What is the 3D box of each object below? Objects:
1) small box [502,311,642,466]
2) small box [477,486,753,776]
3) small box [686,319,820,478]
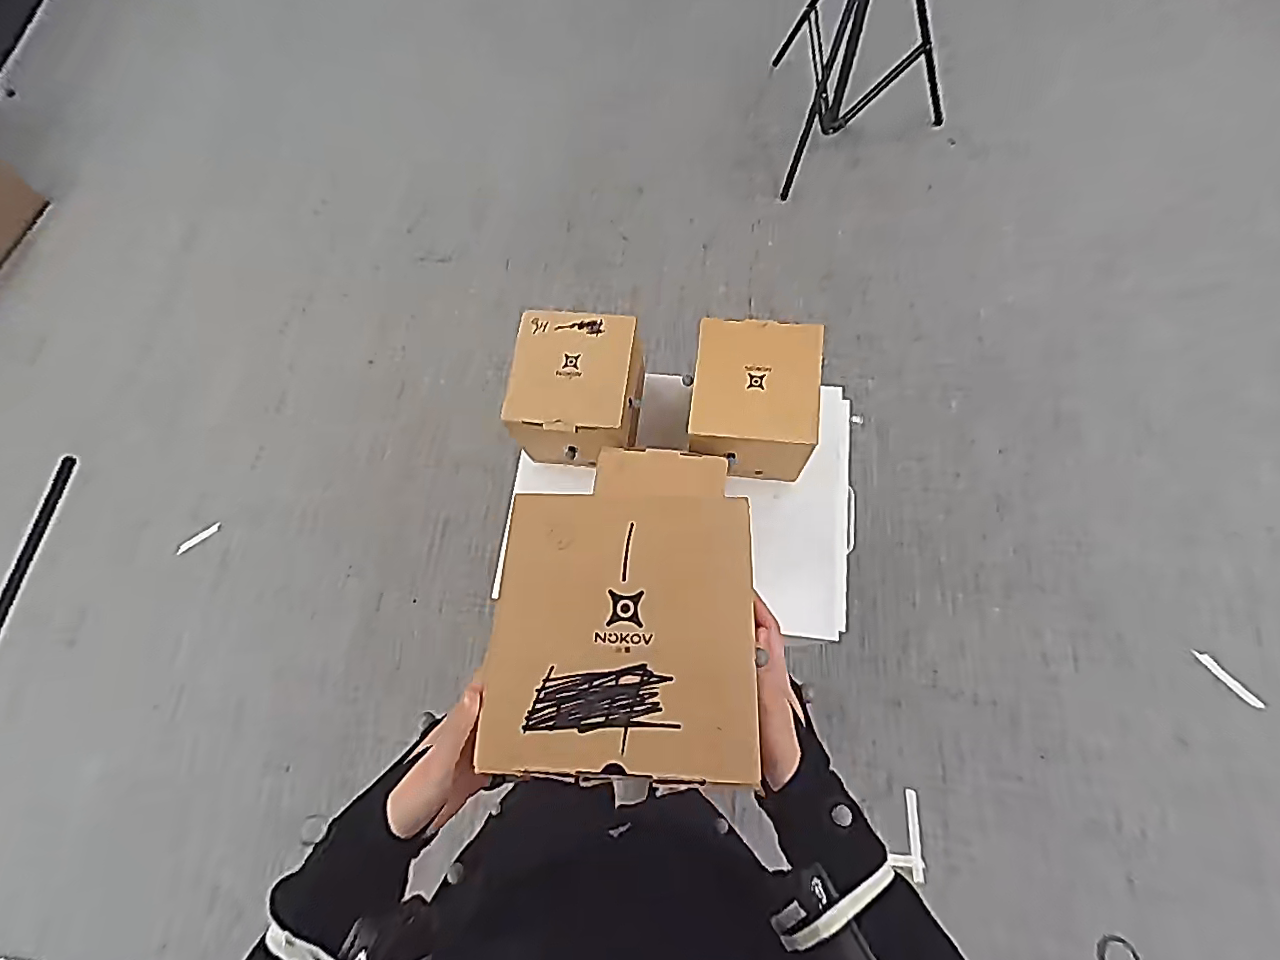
[{"bbox_3d":[-0.090,-0.129,0.815,0.168,0.176,0.179,6,74,6],"label":"small box"},{"bbox_3d":[-0.005,0.118,0.416,0.168,0.176,0.179,1,65,4],"label":"small box"},{"bbox_3d":[0.159,-0.110,0.788,0.168,0.176,0.179,5,73,7],"label":"small box"}]
